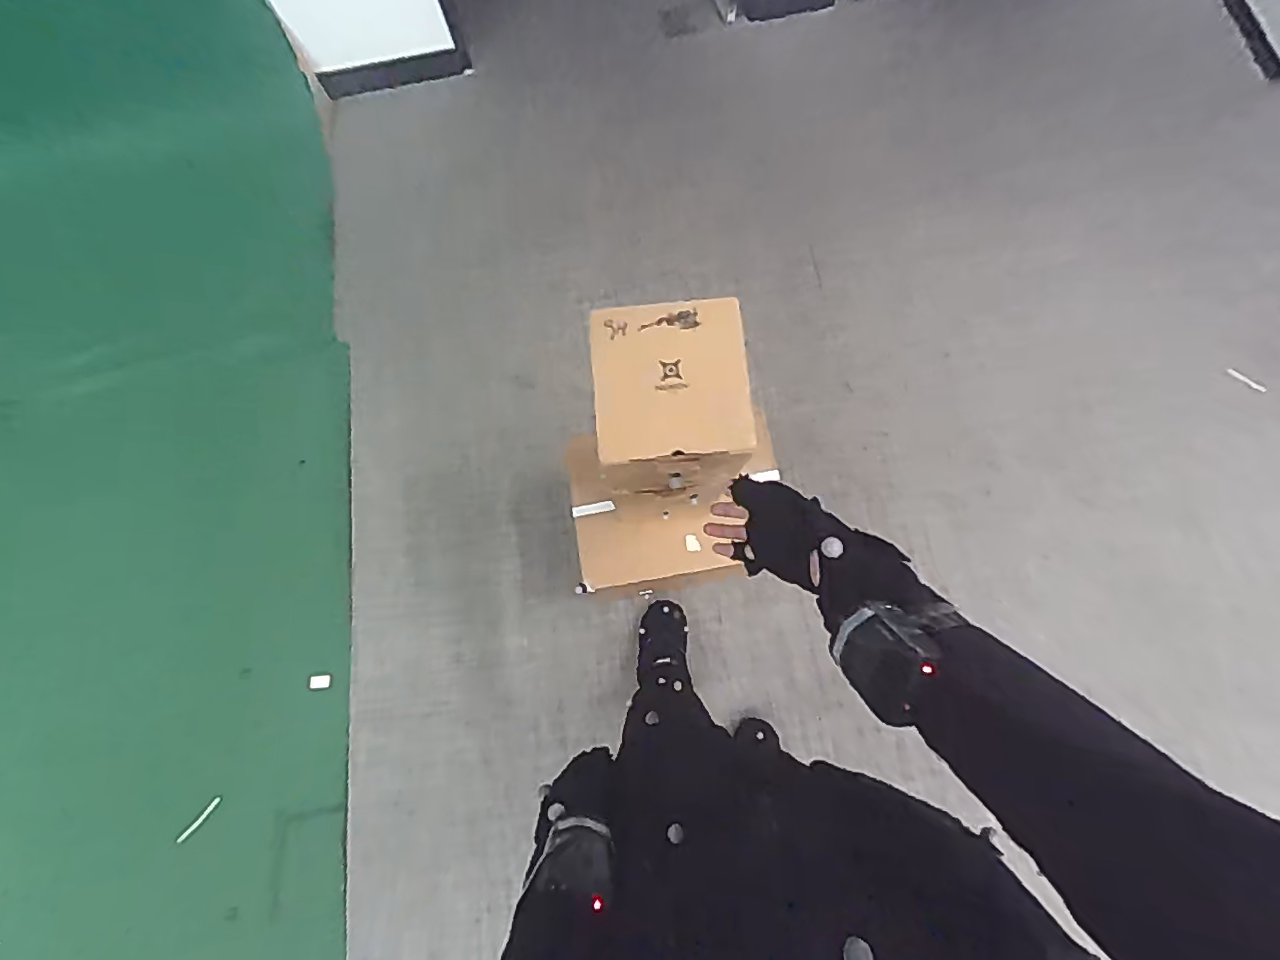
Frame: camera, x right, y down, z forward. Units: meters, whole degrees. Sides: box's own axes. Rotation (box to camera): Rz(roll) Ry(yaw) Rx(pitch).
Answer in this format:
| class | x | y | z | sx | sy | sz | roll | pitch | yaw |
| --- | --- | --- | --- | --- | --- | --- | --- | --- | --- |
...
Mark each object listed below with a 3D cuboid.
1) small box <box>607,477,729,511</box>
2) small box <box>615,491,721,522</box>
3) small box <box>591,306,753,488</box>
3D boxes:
| class | x | y | z | sx | sy | sz | roll | pitch | yaw |
| --- | --- | --- | --- | --- | --- | --- | --- | --- | --- |
| small box | 0.034 | -0.051 | 0.818 | 0.168 | 0.176 | 0.179 | -7 | 78 | 0 |
| small box | 0.045 | -0.018 | 0.973 | 0.179 | 0.176 | 0.168 | -3 | 78 | 2 |
| small box | 0.036 | -0.087 | 0.658 | 0.168 | 0.176 | 0.179 | -5 | 80 | 0 |
